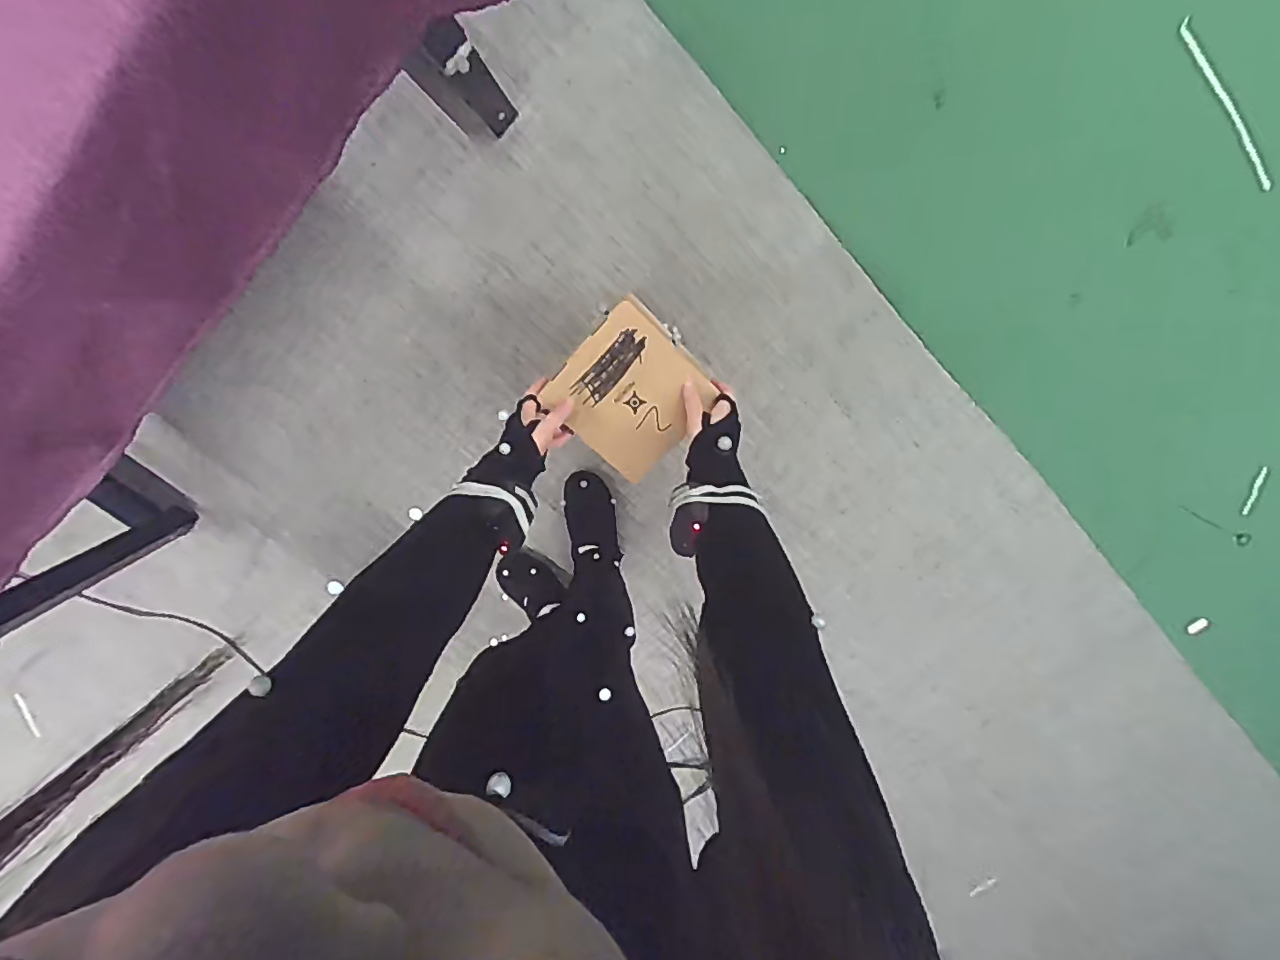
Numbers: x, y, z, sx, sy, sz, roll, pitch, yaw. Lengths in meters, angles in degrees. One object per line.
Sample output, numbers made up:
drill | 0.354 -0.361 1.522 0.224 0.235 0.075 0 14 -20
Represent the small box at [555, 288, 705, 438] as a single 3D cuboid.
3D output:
small box | -0.017 -0.203 0.910 0.168 0.176 0.179 -43 105 11
